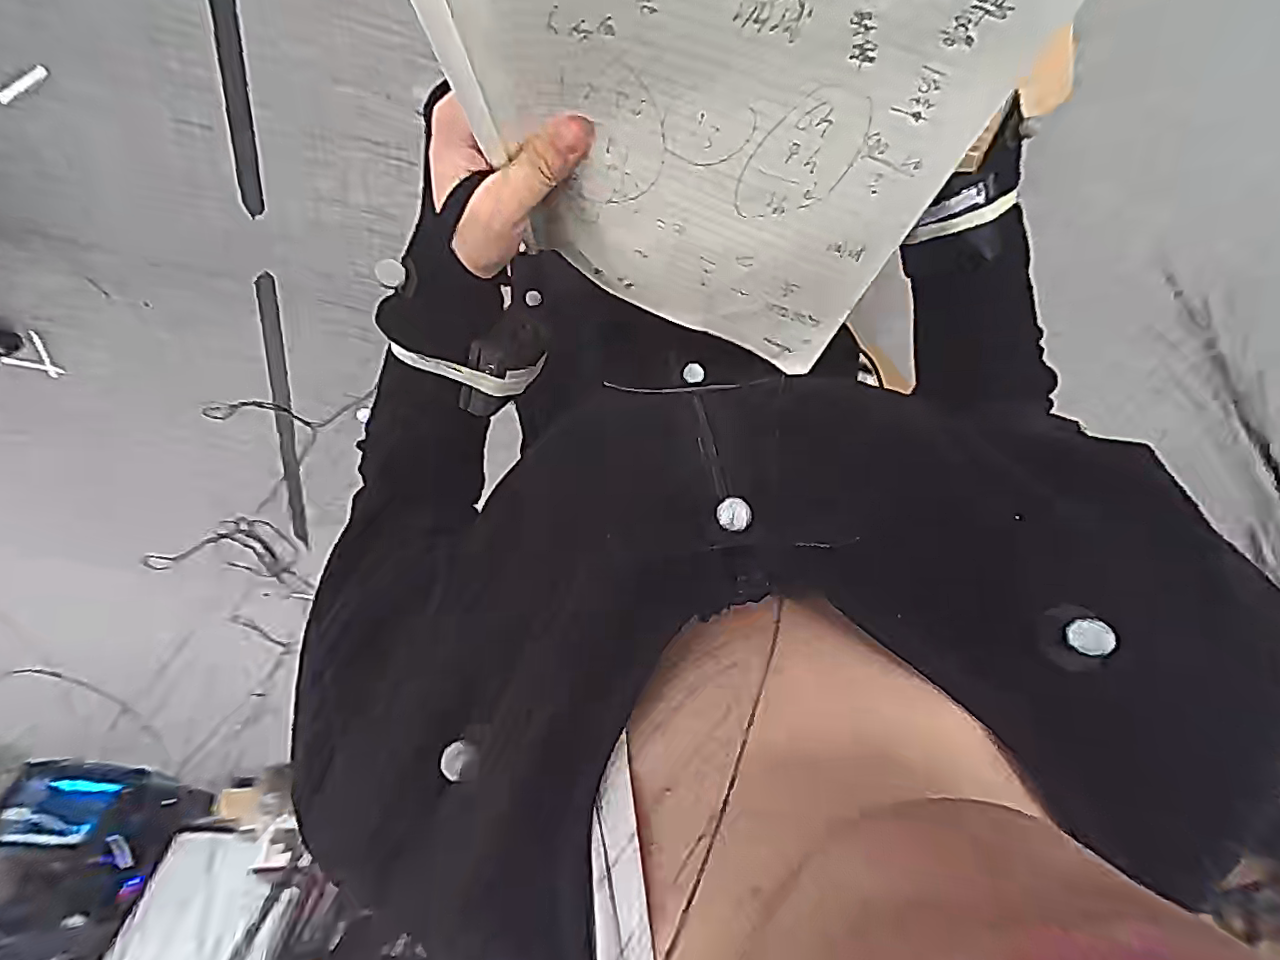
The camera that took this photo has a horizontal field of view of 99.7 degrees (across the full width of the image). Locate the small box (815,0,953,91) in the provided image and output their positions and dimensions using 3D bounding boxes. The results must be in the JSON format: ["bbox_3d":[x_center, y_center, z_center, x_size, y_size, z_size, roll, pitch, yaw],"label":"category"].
[{"bbox_3d":[0.428,-0.844,0.964,0.168,0.176,0.179,-23,128,18],"label":"small box"}]
